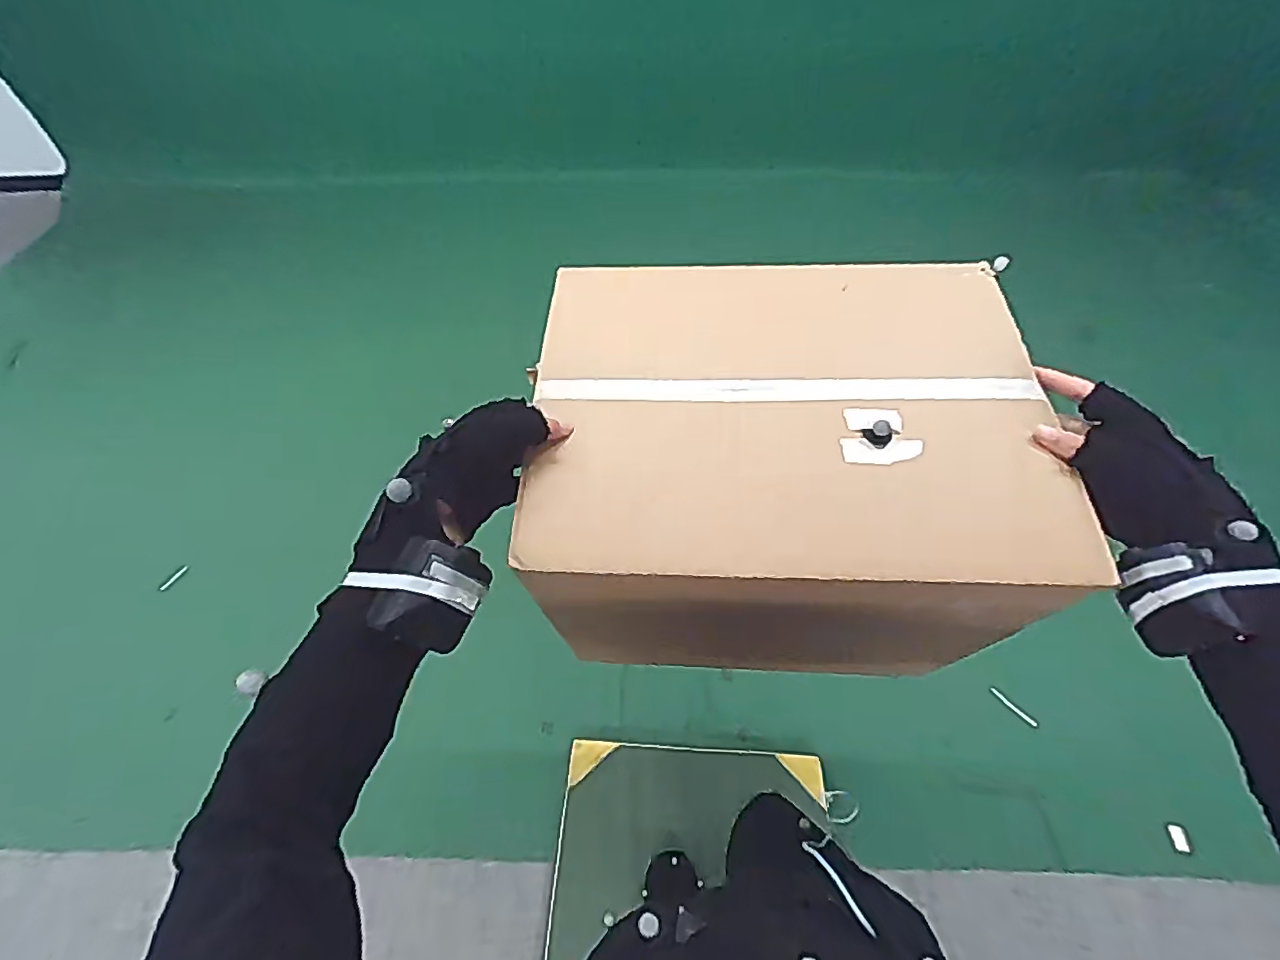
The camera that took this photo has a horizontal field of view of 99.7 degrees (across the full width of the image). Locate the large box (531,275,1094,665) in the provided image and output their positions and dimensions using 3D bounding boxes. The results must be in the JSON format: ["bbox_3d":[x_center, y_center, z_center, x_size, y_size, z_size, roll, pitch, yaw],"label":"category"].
[{"bbox_3d":[0.125,0.007,0.583,0.408,0.320,0.320,1,60,3],"label":"large box"}]
